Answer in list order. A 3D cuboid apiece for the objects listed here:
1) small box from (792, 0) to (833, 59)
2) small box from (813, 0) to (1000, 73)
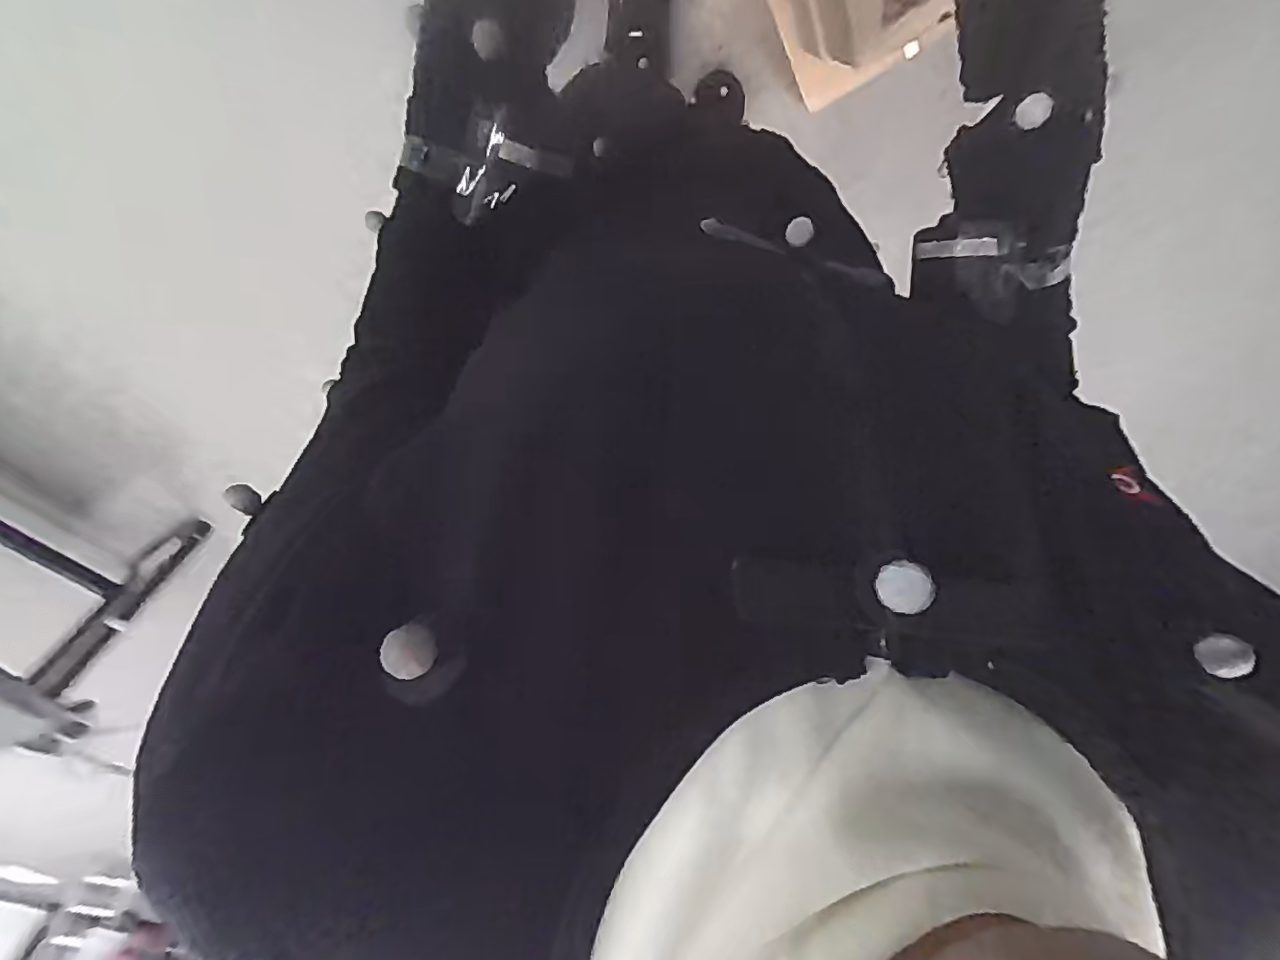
[{"bbox_3d":[0.269,-0.657,0.657,0.168,0.176,0.179,-16,129,20],"label":"small box"},{"bbox_3d":[0.260,-0.549,0.534,0.168,0.176,0.179,-17,126,20],"label":"small box"}]
